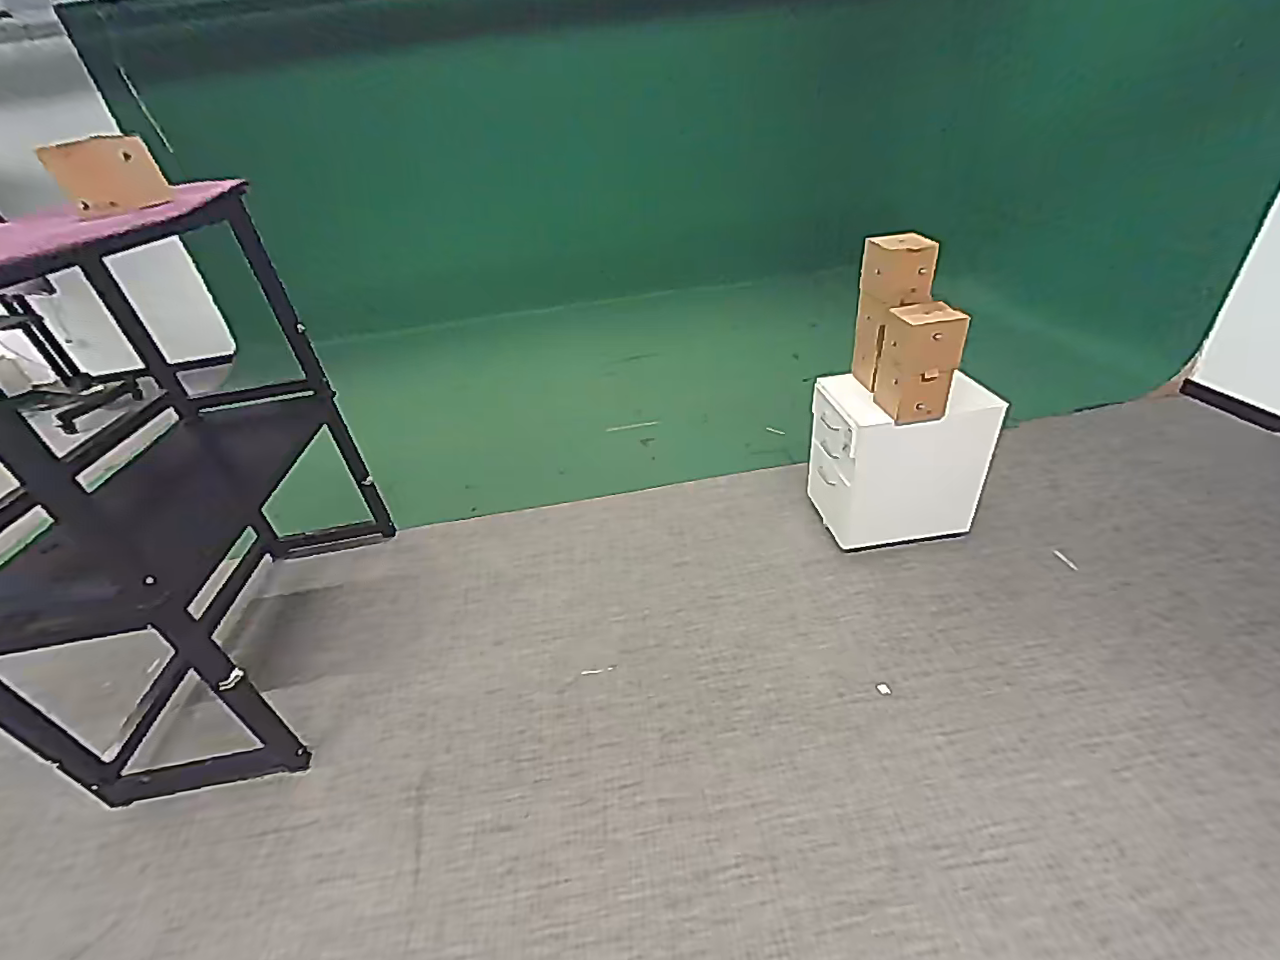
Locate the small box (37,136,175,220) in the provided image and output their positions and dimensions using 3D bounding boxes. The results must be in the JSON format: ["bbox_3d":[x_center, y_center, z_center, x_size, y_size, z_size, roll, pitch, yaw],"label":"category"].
[{"bbox_3d":[-1.438,-0.822,1.475,0.168,0.176,0.179,-11,35,0],"label":"small box"}]

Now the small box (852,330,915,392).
[{"bbox_3d":[0.903,-0.444,1.998,0.168,0.176,0.179,-9,36,-2],"label":"small box"}]

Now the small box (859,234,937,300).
[{"bbox_3d":[0.857,-0.711,1.812,0.168,0.176,0.179,-7,35,-2],"label":"small box"}]

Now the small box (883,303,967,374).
[{"bbox_3d":[0.891,-0.446,1.713,0.179,0.176,0.168,-7,35,-1],"label":"small box"}]
